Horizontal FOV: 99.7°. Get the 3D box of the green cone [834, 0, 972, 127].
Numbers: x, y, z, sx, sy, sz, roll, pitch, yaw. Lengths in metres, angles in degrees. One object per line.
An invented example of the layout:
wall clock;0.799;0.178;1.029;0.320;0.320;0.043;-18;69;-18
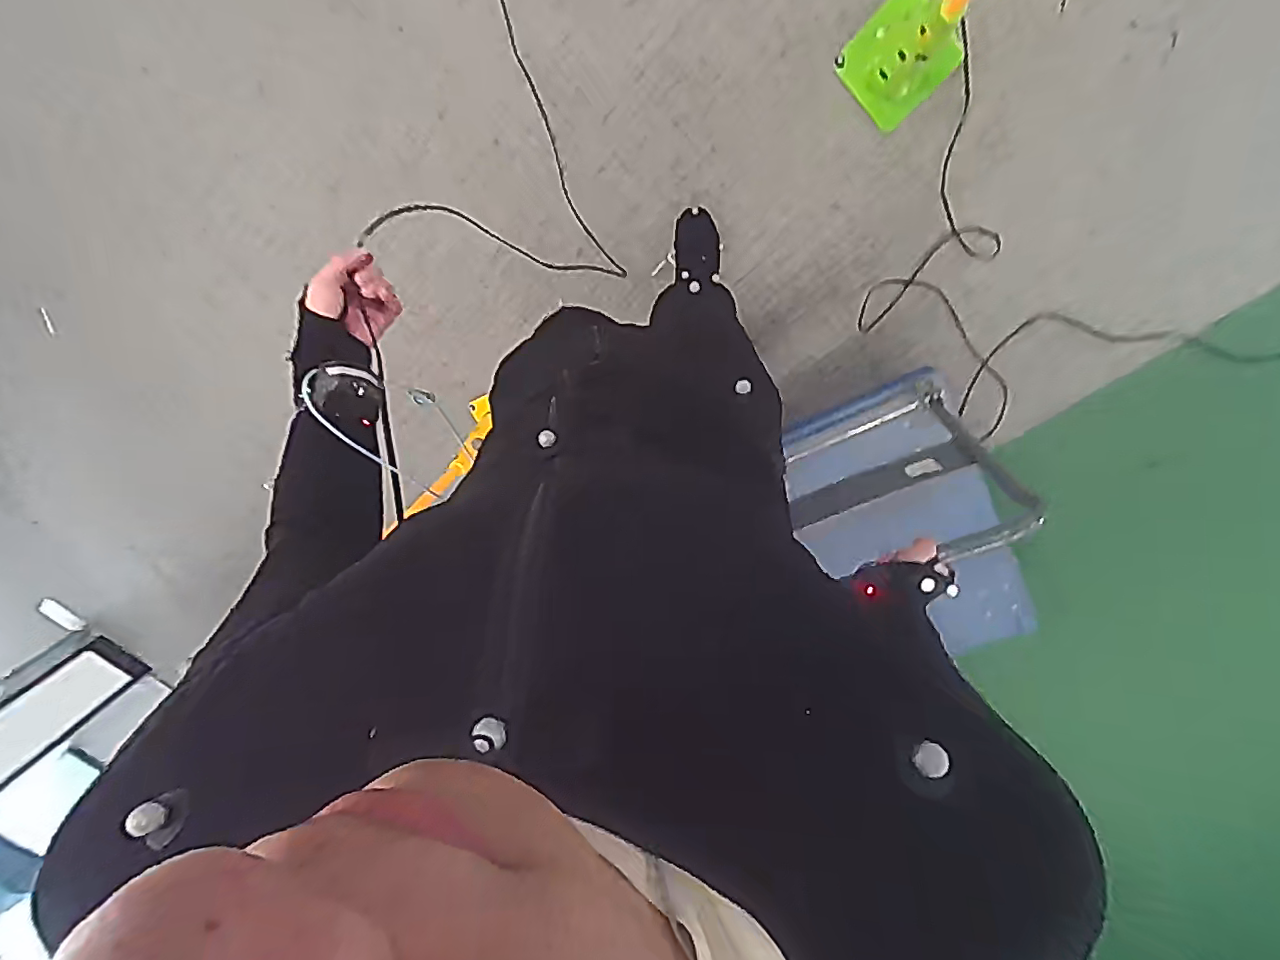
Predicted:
green cone;0.518;-0.821;0.988;0.200;0.368;0.202;42;115;-12
